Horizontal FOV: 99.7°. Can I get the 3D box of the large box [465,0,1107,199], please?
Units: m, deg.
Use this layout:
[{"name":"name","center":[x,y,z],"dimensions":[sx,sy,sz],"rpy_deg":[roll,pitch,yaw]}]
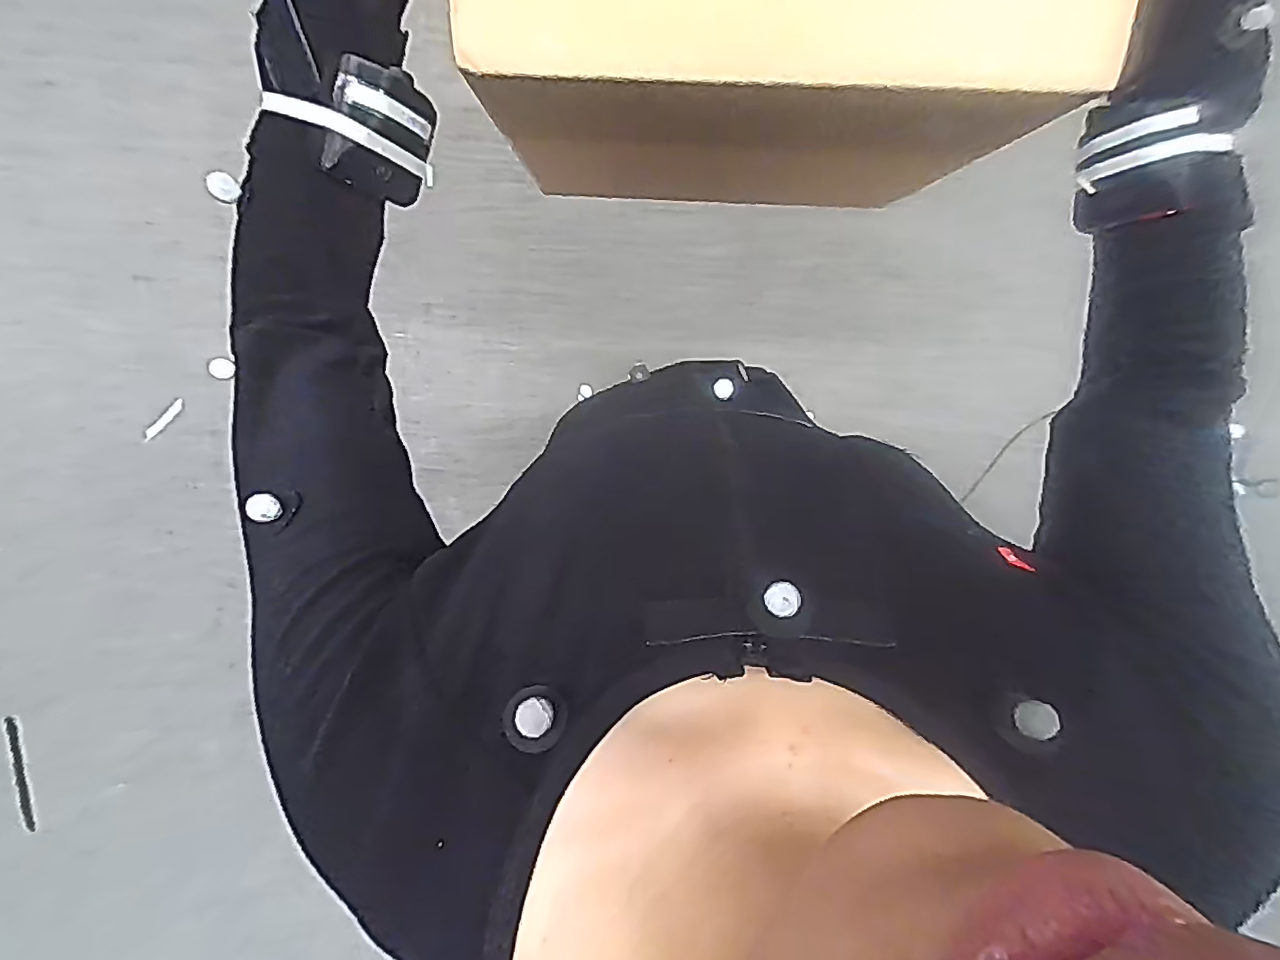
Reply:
[{"name":"large box","center":[0.087,-0.439,0.447],"dimensions":[0.408,0.320,0.320],"rpy_deg":[0,106,-1]}]
